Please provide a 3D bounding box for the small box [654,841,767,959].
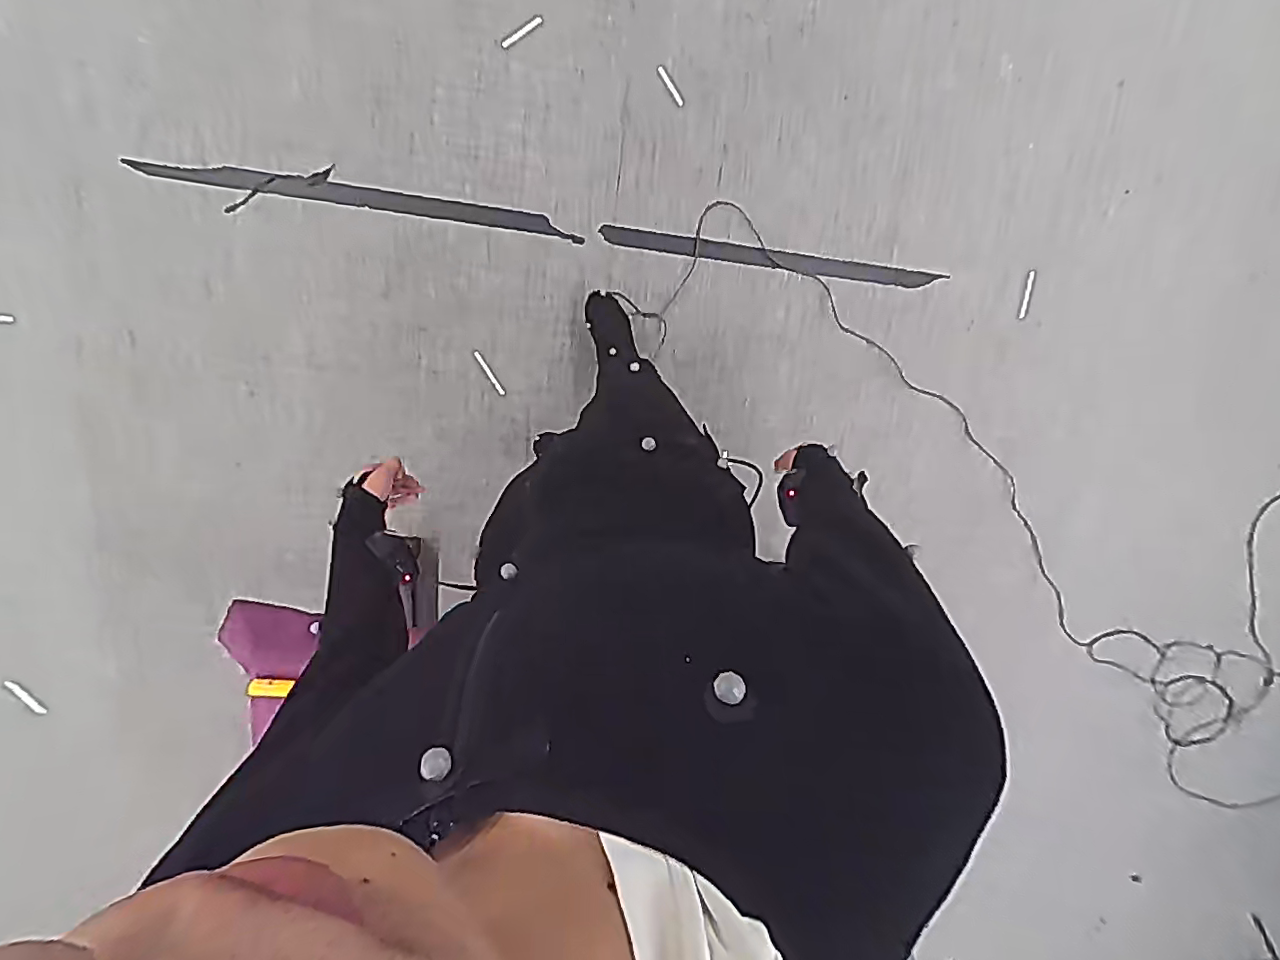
[{"bbox_3d":[0.120,0.808,0.996,0.168,0.176,0.179,3,101,-7],"label":"small box"}]
